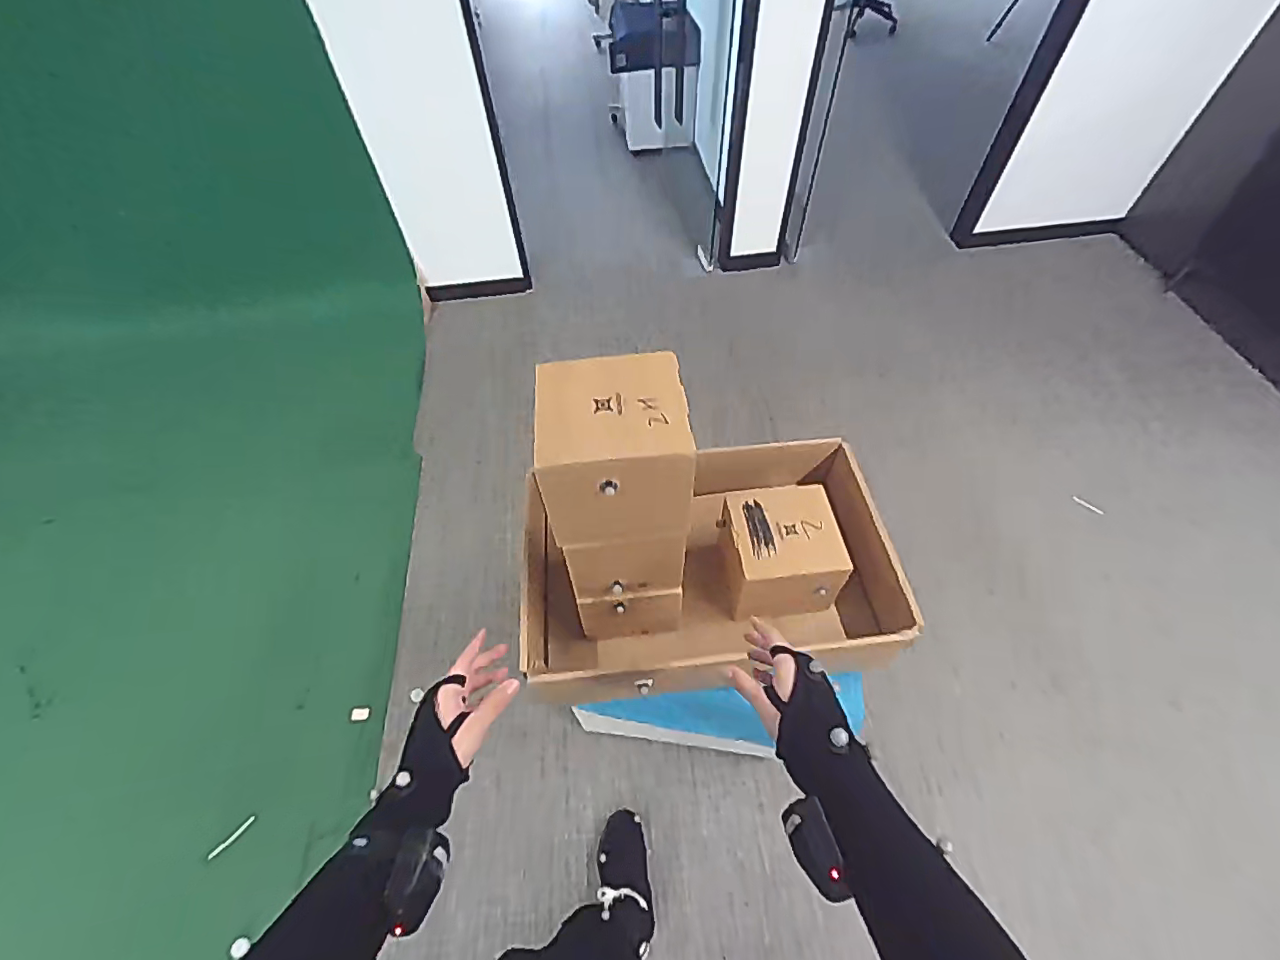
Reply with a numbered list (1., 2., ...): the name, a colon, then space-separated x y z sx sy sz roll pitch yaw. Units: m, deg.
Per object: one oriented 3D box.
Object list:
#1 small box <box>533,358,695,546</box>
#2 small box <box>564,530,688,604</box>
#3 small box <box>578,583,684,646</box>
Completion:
1. small box: -0.030 -0.029 0.679 0.179 0.176 0.168 -5 53 -2
2. small box: -0.026 0.066 0.813 0.168 0.176 0.179 -5 53 -3
3. small box: -0.020 0.168 0.939 0.168 0.176 0.179 -6 52 -2
